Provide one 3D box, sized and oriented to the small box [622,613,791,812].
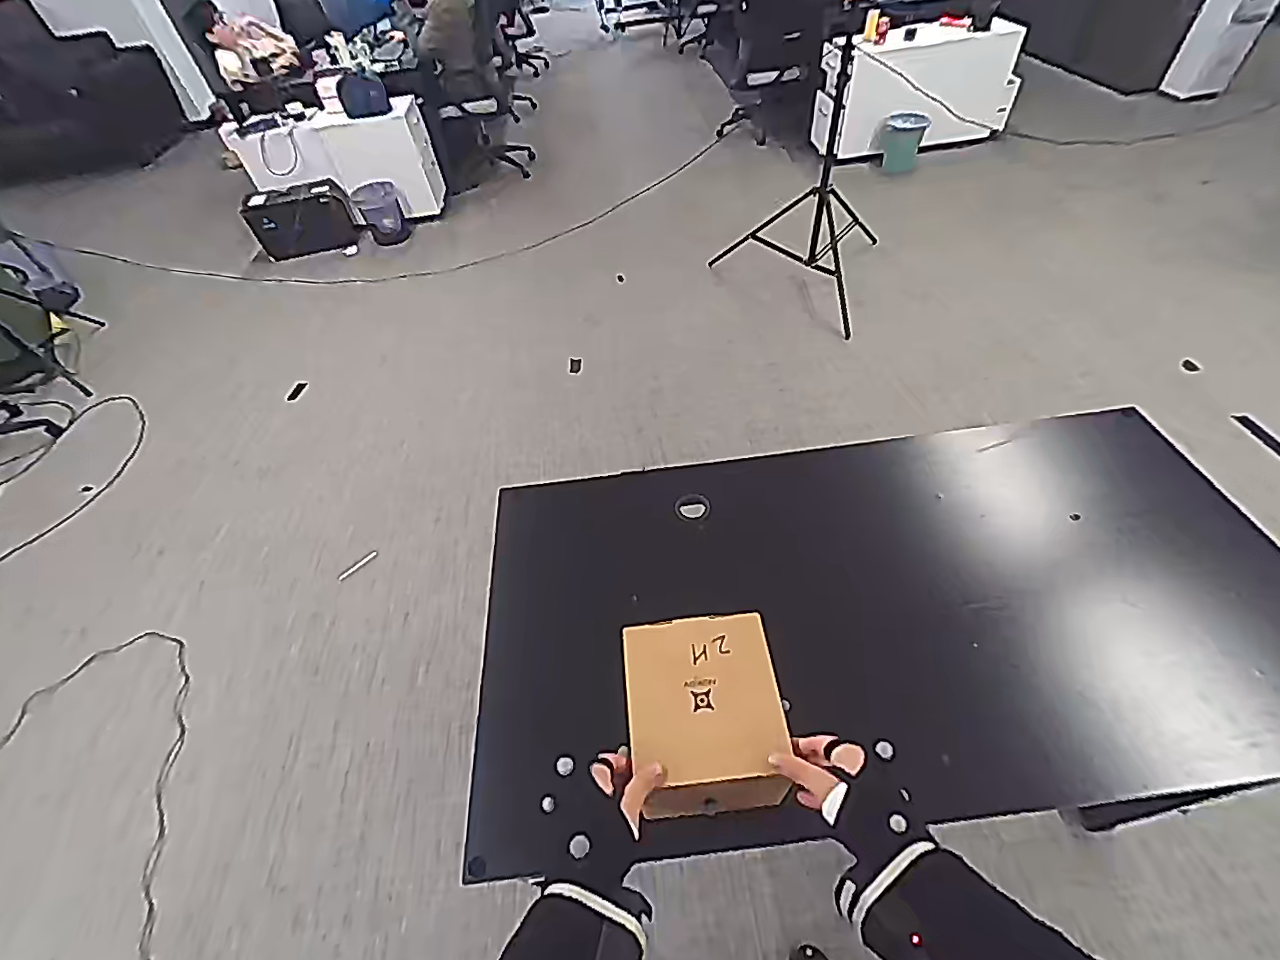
[{"bbox_3d":[0.073,0.285,0.651,0.168,0.176,0.179,-7,48,1],"label":"small box"}]
